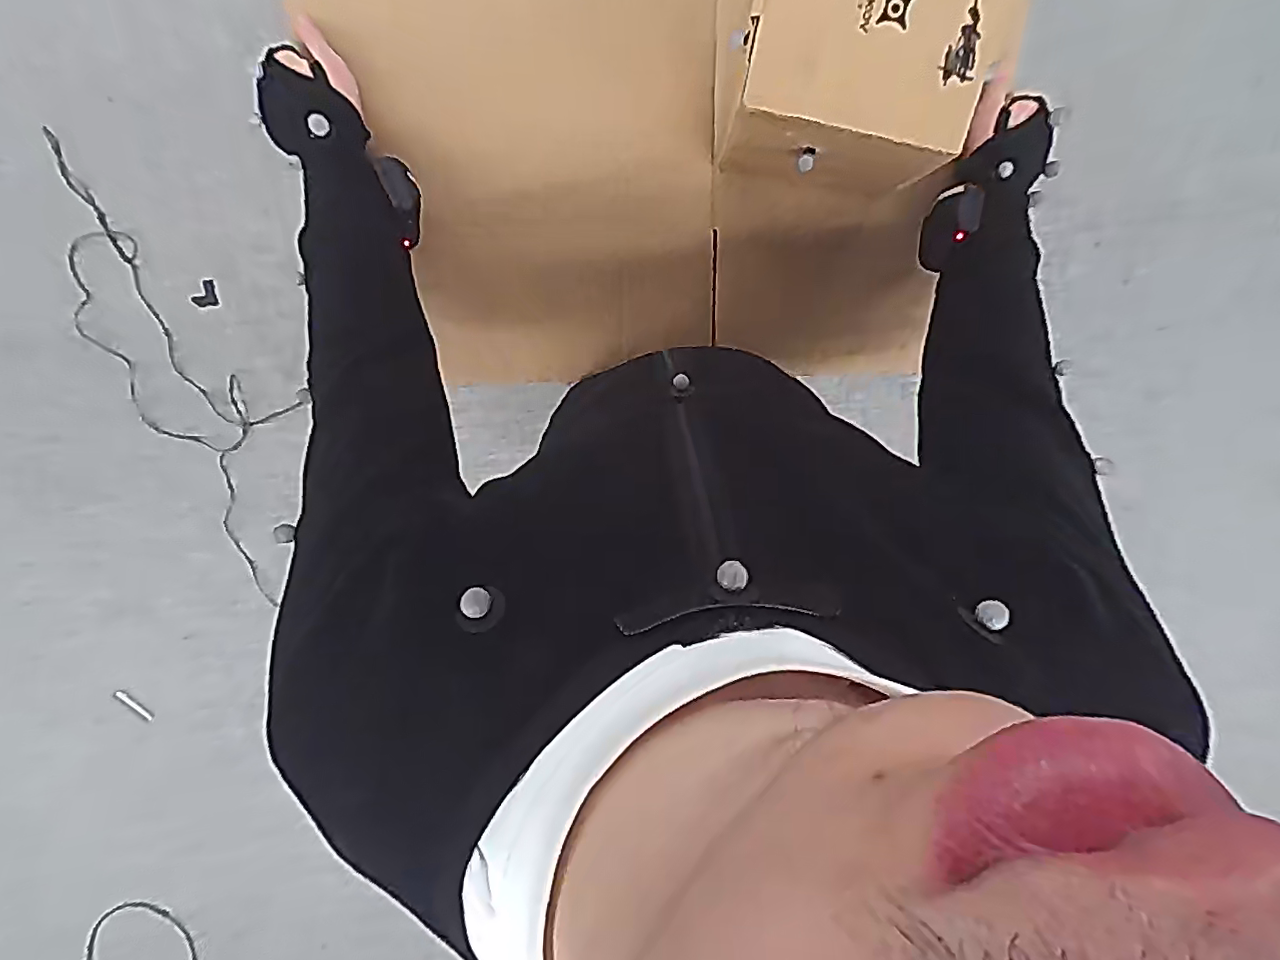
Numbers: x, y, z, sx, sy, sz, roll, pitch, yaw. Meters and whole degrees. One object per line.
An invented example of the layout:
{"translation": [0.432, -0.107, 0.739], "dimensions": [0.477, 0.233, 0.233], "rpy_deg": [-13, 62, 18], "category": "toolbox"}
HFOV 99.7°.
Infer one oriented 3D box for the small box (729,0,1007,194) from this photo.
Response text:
{"translation": [0.184, -0.371, 0.475], "dimensions": [0.179, 0.176, 0.168], "rpy_deg": [12, 106, 0], "category": "small box"}
